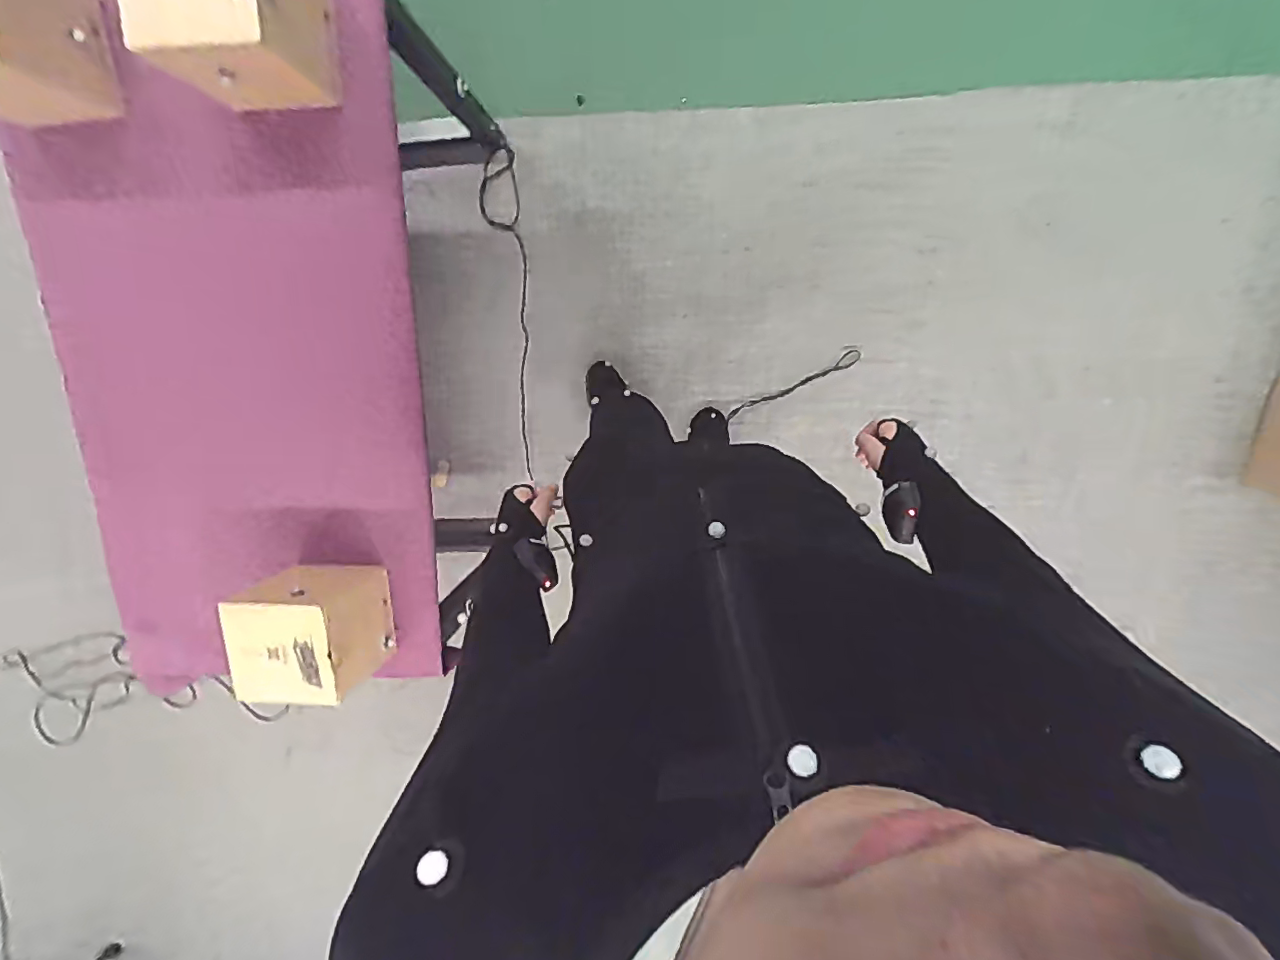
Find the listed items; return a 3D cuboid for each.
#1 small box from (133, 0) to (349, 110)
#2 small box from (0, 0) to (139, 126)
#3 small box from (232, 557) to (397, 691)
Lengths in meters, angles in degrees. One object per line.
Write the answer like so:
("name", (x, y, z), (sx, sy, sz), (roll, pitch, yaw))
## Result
("small box", (-0.532, -0.627, 0.730), (0.179, 0.176, 0.168), (1, 104, 6))
("small box", (-0.886, -0.627, 0.767), (0.179, 0.176, 0.168), (-2, 105, 5))
("small box", (-0.538, 0.237, 0.925), (0.179, 0.176, 0.168), (0, 102, 8))
